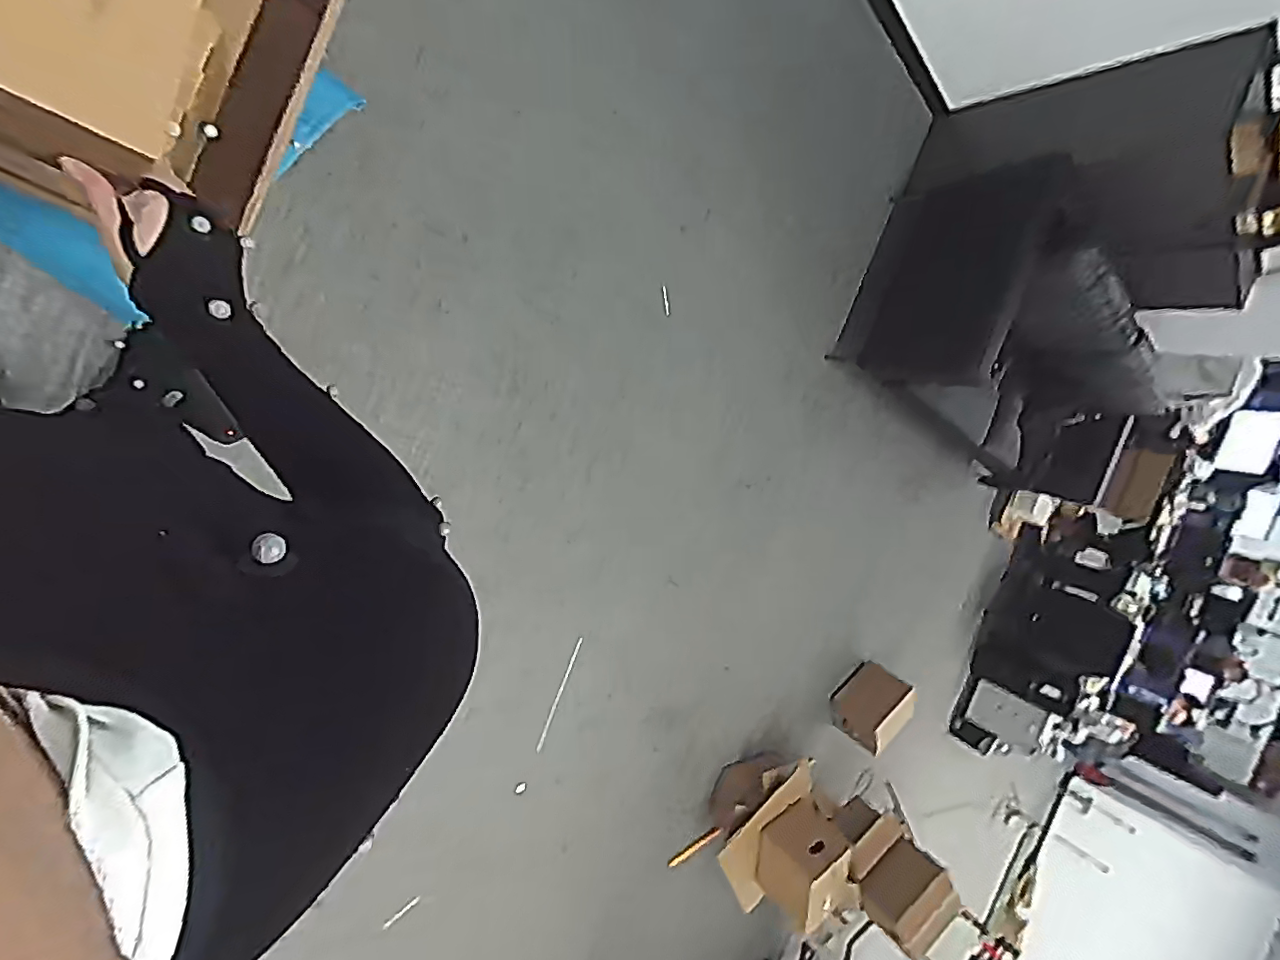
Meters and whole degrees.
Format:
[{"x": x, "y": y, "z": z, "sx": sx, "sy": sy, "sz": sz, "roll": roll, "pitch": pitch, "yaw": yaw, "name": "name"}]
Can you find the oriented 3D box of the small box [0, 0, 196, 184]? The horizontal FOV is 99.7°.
[{"x": -0.428, "y": -0.325, "z": 0.356, "sx": 0.179, "sy": 0.176, "sz": 0.168, "roll": 15, "pitch": 90, "yaw": -51, "name": "small box"}]
